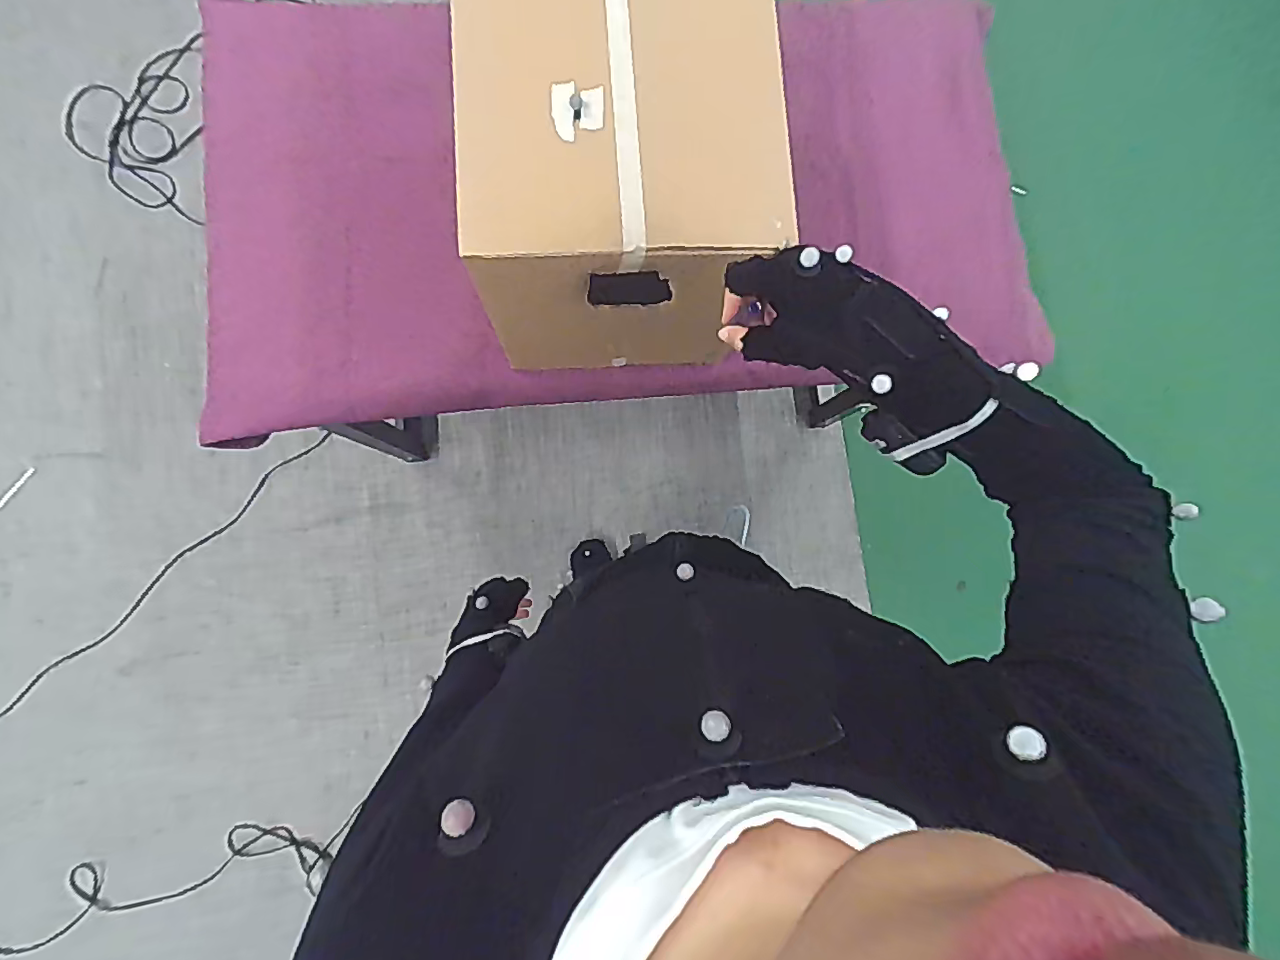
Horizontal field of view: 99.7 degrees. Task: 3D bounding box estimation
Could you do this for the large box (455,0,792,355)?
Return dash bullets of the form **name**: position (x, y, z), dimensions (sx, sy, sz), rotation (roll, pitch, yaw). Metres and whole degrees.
- **large box**: position (-0.035, -0.399, 0.670), dimensions (0.320, 0.320, 0.408), rotation (-3, 85, -5)
